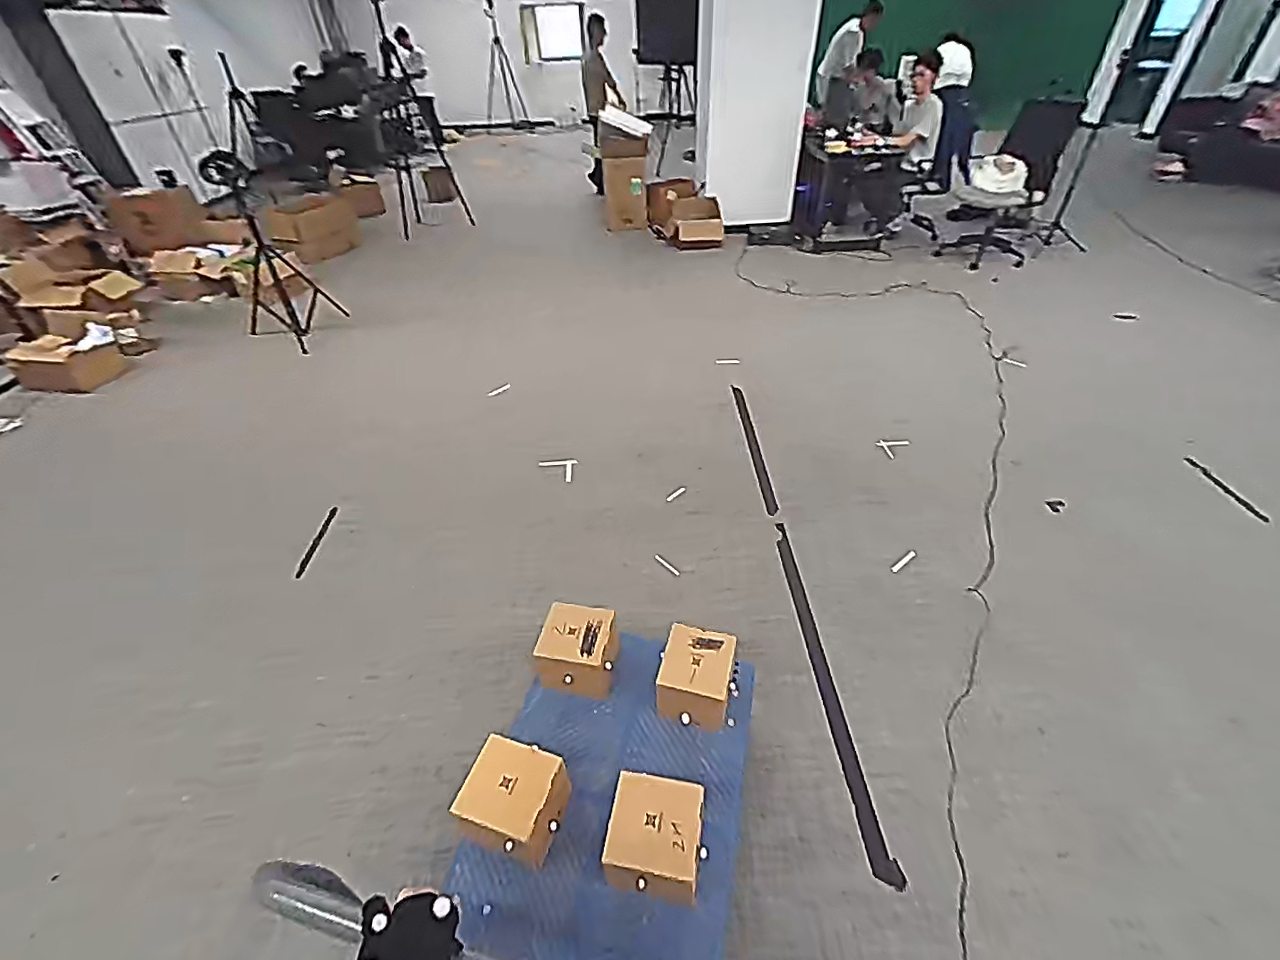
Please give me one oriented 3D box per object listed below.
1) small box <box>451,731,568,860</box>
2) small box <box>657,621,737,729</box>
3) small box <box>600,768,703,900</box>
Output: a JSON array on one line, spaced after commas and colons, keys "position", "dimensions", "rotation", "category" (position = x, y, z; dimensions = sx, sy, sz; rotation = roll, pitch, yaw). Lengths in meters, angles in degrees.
[{"position": [-0.270, 0.678, 1.159], "dimensions": [0.179, 0.176, 0.168], "rotation": [12, 41, 14], "category": "small box"}, {"position": [0.142, 0.490, 1.359], "dimensions": [0.168, 0.176, 0.179], "rotation": [10, 43, 14], "category": "small box"}, {"position": [0.030, 0.718, 1.094], "dimensions": [0.179, 0.176, 0.168], "rotation": [6, 41, 10], "category": "small box"}]
